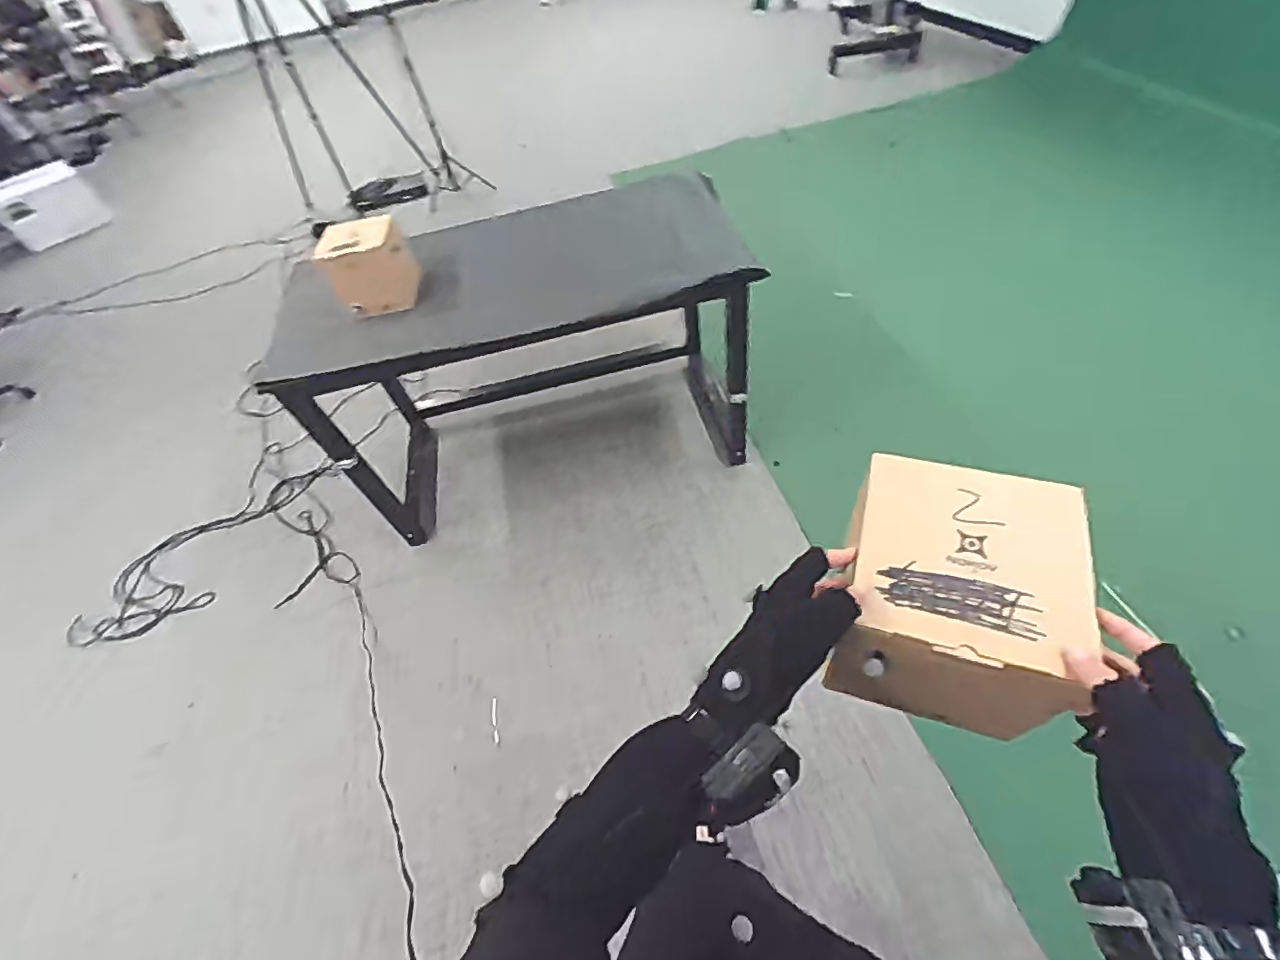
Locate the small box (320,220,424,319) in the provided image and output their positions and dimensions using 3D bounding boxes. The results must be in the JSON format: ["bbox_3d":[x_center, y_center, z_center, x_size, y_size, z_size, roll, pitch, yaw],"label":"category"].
[{"bbox_3d":[-0.670,-0.527,1.378,0.168,0.176,0.179,-11,50,1],"label":"small box"}]
